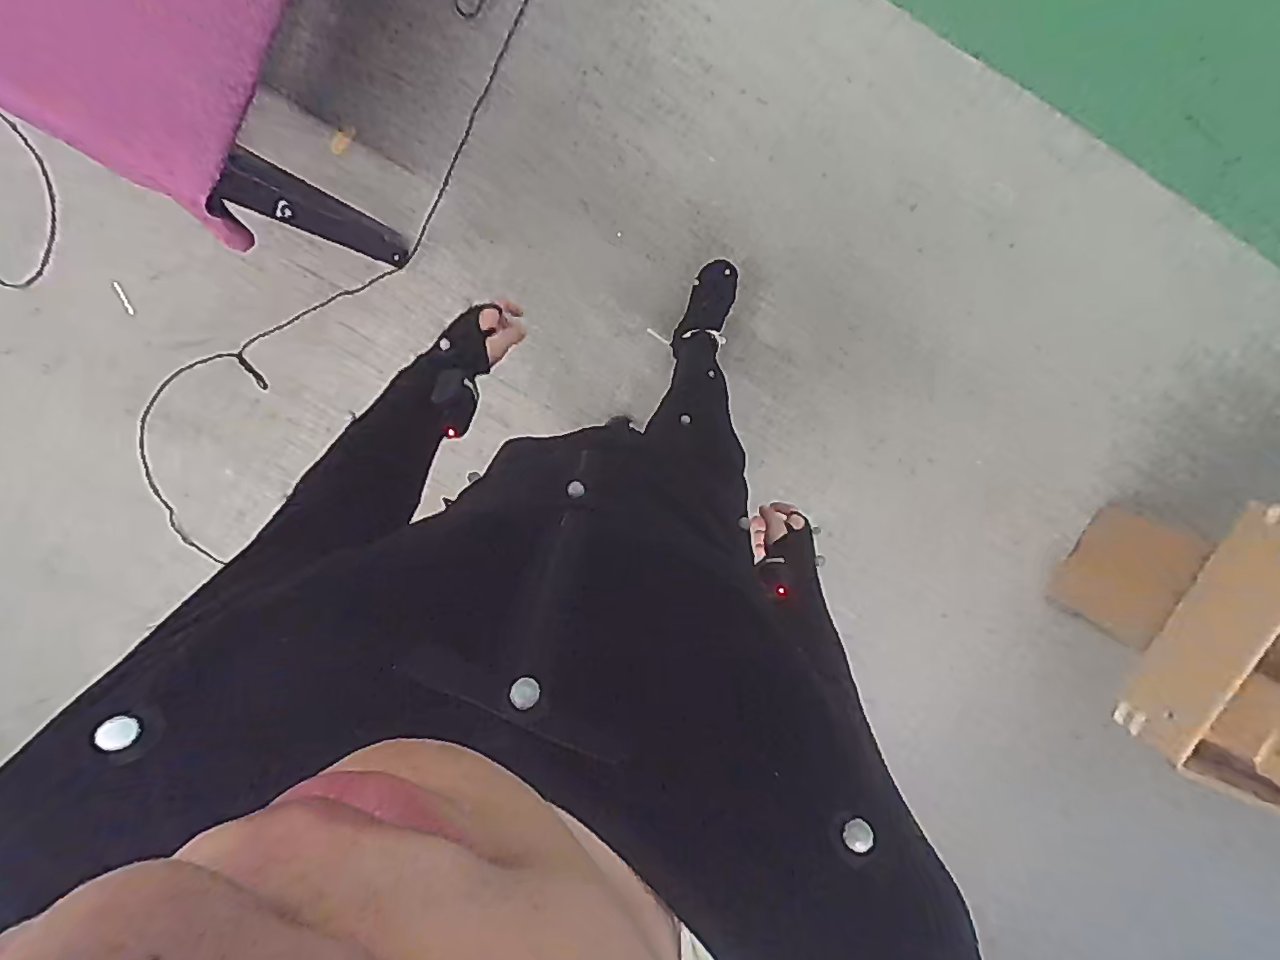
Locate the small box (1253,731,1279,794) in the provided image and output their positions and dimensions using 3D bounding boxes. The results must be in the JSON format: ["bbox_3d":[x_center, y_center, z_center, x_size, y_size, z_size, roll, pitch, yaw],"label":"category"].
[{"bbox_3d":[1.375,0.582,1.040,0.179,0.176,0.168,17,102,-2],"label":"small box"}]
